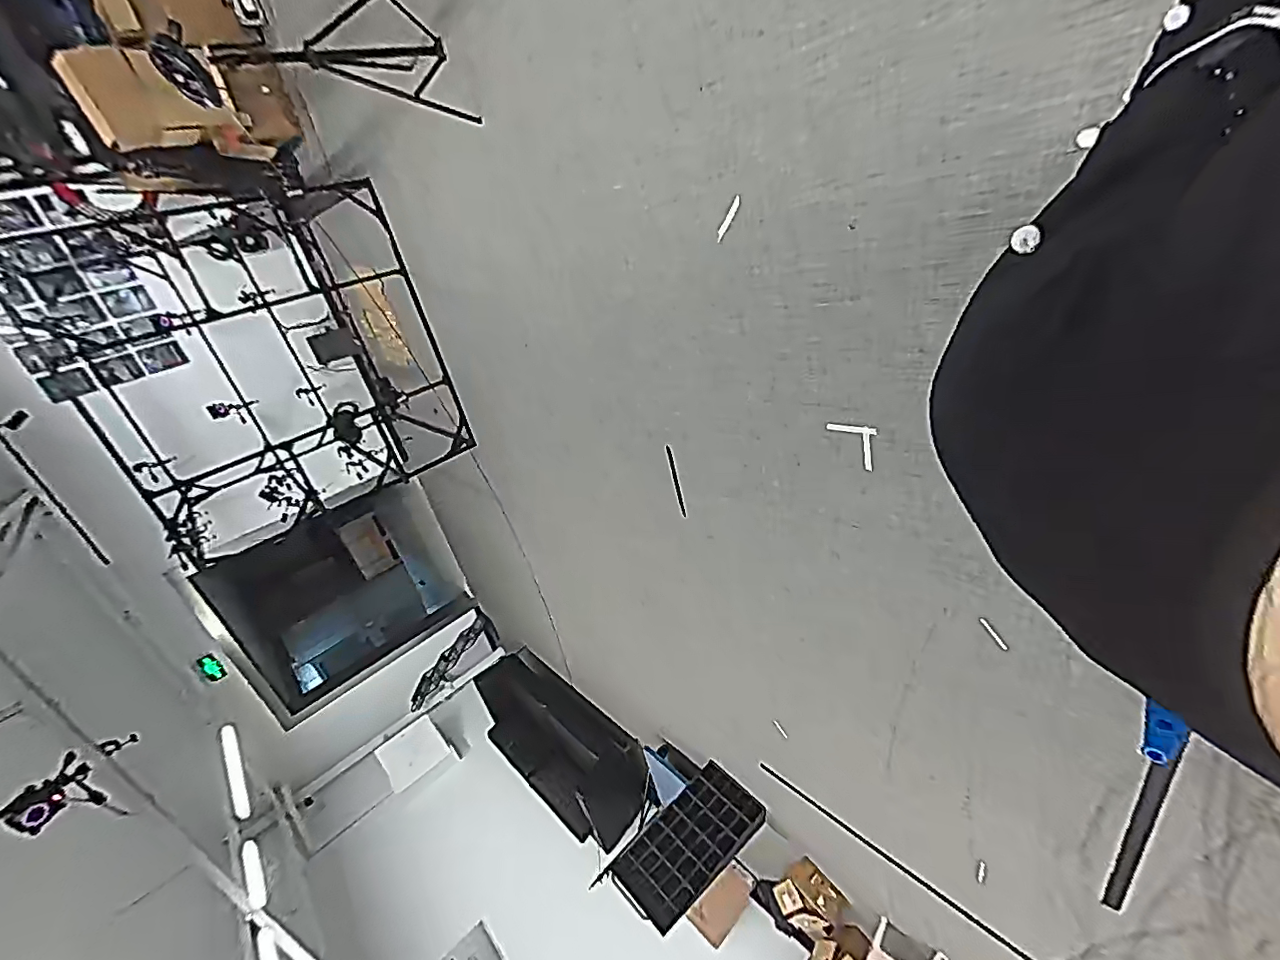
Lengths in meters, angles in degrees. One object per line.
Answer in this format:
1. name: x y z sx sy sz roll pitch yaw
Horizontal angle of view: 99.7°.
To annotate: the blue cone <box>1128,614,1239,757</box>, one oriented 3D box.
1. blue cone: 1.230 0.506 1.265 0.192 0.380 0.193 15 128 49
